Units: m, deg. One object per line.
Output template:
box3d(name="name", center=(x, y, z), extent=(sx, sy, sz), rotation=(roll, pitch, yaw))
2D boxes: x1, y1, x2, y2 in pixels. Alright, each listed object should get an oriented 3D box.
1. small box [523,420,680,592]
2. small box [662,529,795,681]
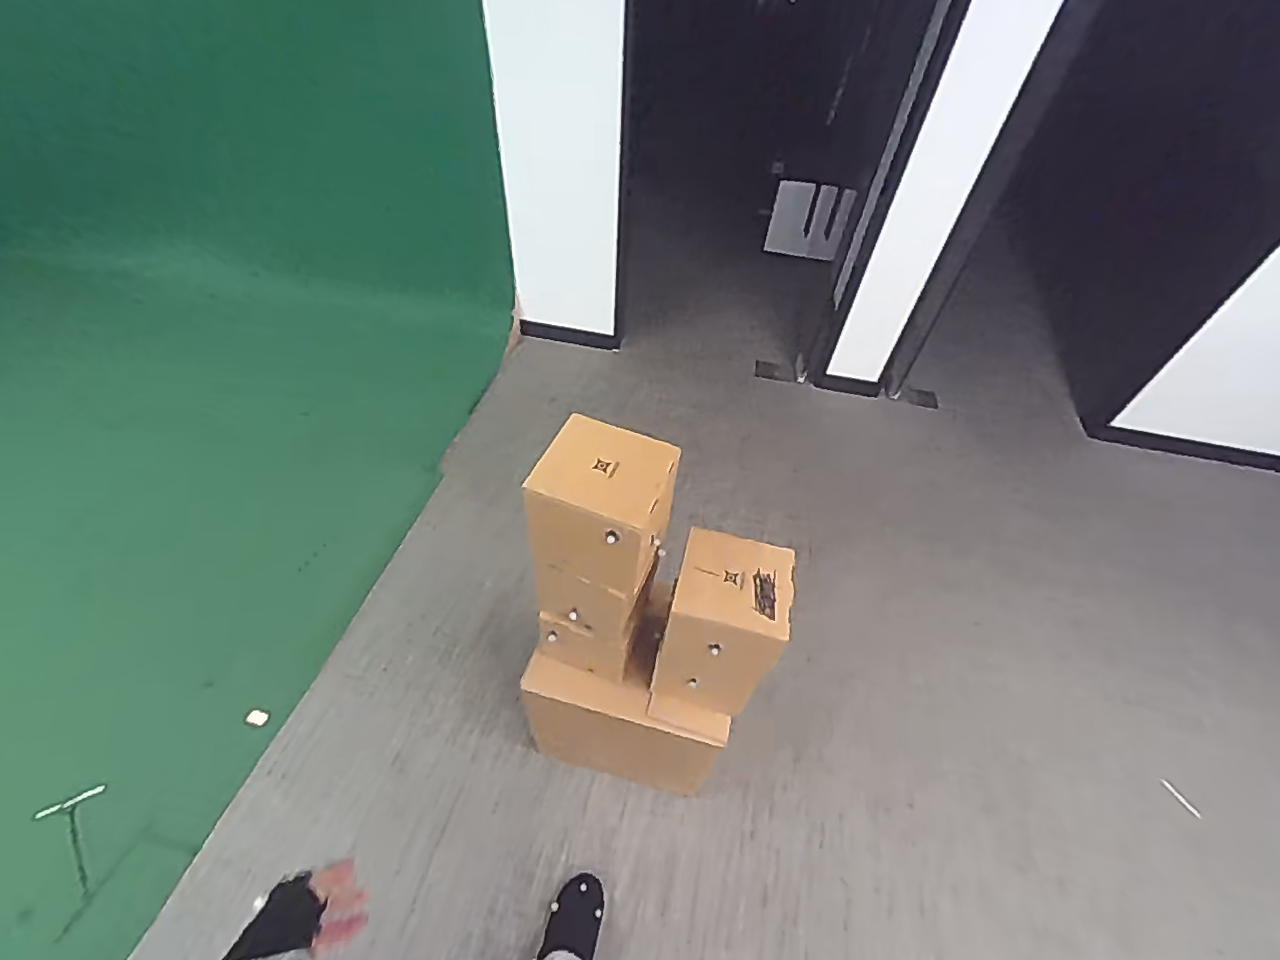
box3d(name="small box", center=(-0.056, 0.042, 0.813), extent=(0.179, 0.176, 0.168), rotation=(18, 49, 10))
box3d(name="small box", center=(0.143, 0.212, 0.895), extent=(0.179, 0.176, 0.168), rotation=(13, 49, 8))
